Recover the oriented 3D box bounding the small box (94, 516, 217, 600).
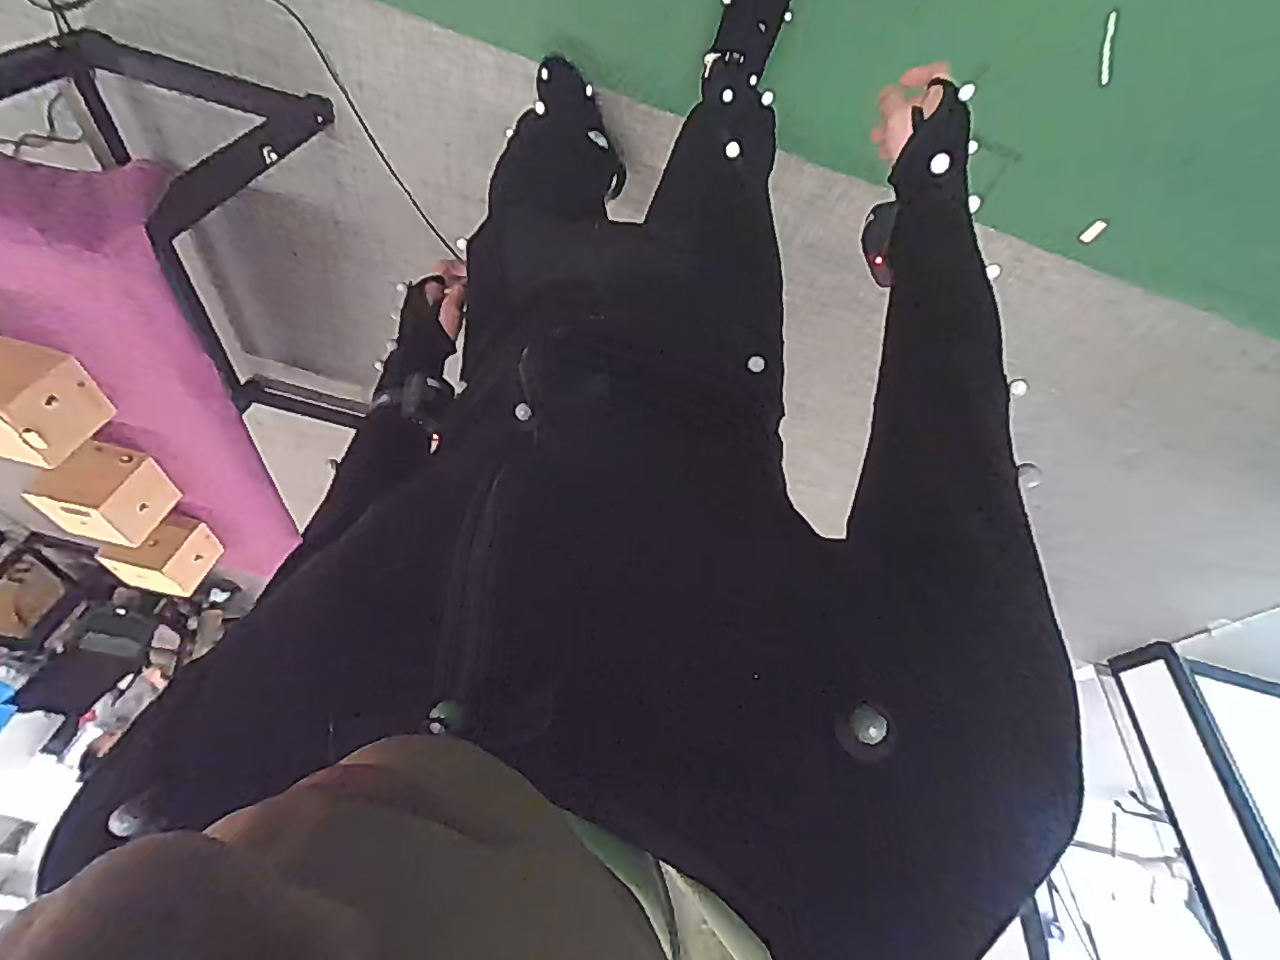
[{"bbox_3d":[-1.336,0.210,1.513,0.179,0.176,0.168,14,141,-4],"label":"small box"}]

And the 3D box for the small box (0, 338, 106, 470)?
[{"bbox_3d":[-1.197,-0.150,1.038,0.179,0.176,0.168,16,141,-5],"label":"small box"}]

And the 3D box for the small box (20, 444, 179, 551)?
[{"bbox_3d":[-1.268,0.039,1.287,0.168,0.176,0.179,15,142,-4],"label":"small box"}]
